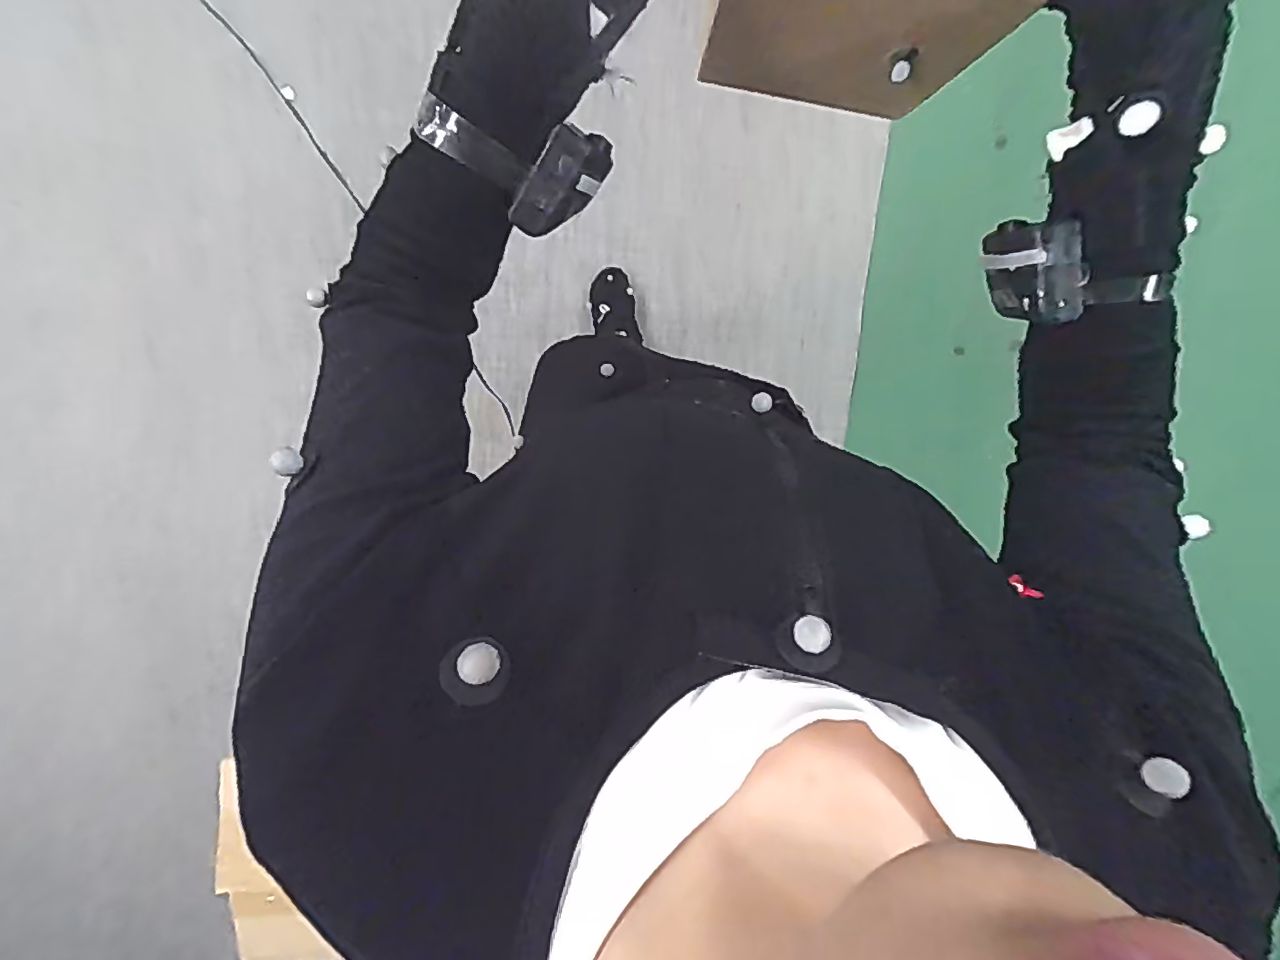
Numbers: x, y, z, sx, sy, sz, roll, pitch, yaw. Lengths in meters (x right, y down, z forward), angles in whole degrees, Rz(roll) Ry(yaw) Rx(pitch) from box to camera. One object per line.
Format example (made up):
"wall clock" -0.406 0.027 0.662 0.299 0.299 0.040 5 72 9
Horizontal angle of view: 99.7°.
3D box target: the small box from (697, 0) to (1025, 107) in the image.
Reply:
"small box" 0.142 -0.373 0.347 0.179 0.176 0.168 7 102 -2
